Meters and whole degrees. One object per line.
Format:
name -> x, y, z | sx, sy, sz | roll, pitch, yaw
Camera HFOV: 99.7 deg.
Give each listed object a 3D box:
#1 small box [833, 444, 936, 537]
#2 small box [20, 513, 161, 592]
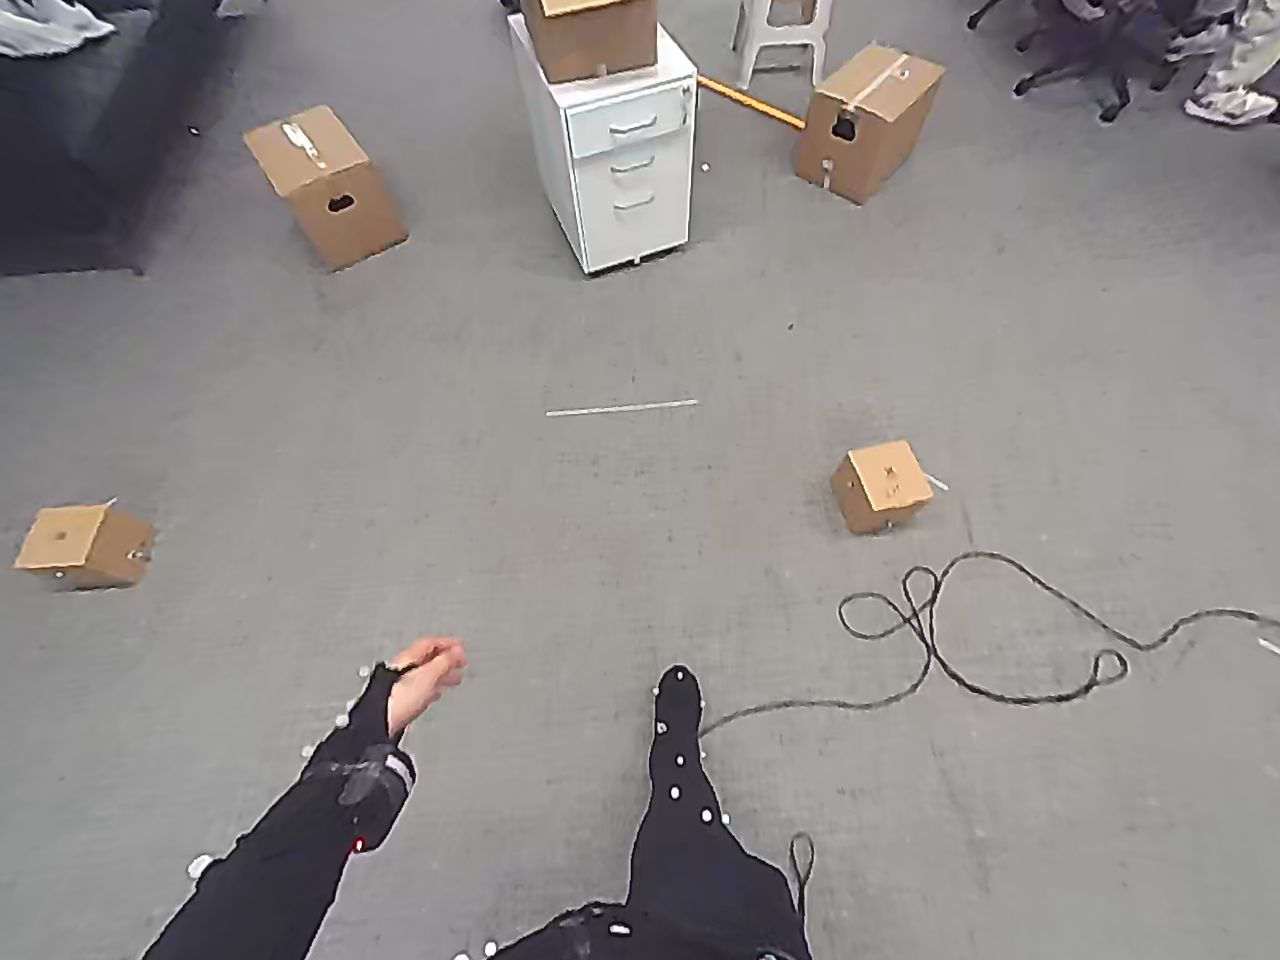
small box -> 0.639, 0.032, 1.443 | 0.168, 0.176, 0.179 | -12, 64, -4
small box -> -1.463, 0.199, 1.454 | 0.179, 0.176, 0.168 | -3, 64, -1
